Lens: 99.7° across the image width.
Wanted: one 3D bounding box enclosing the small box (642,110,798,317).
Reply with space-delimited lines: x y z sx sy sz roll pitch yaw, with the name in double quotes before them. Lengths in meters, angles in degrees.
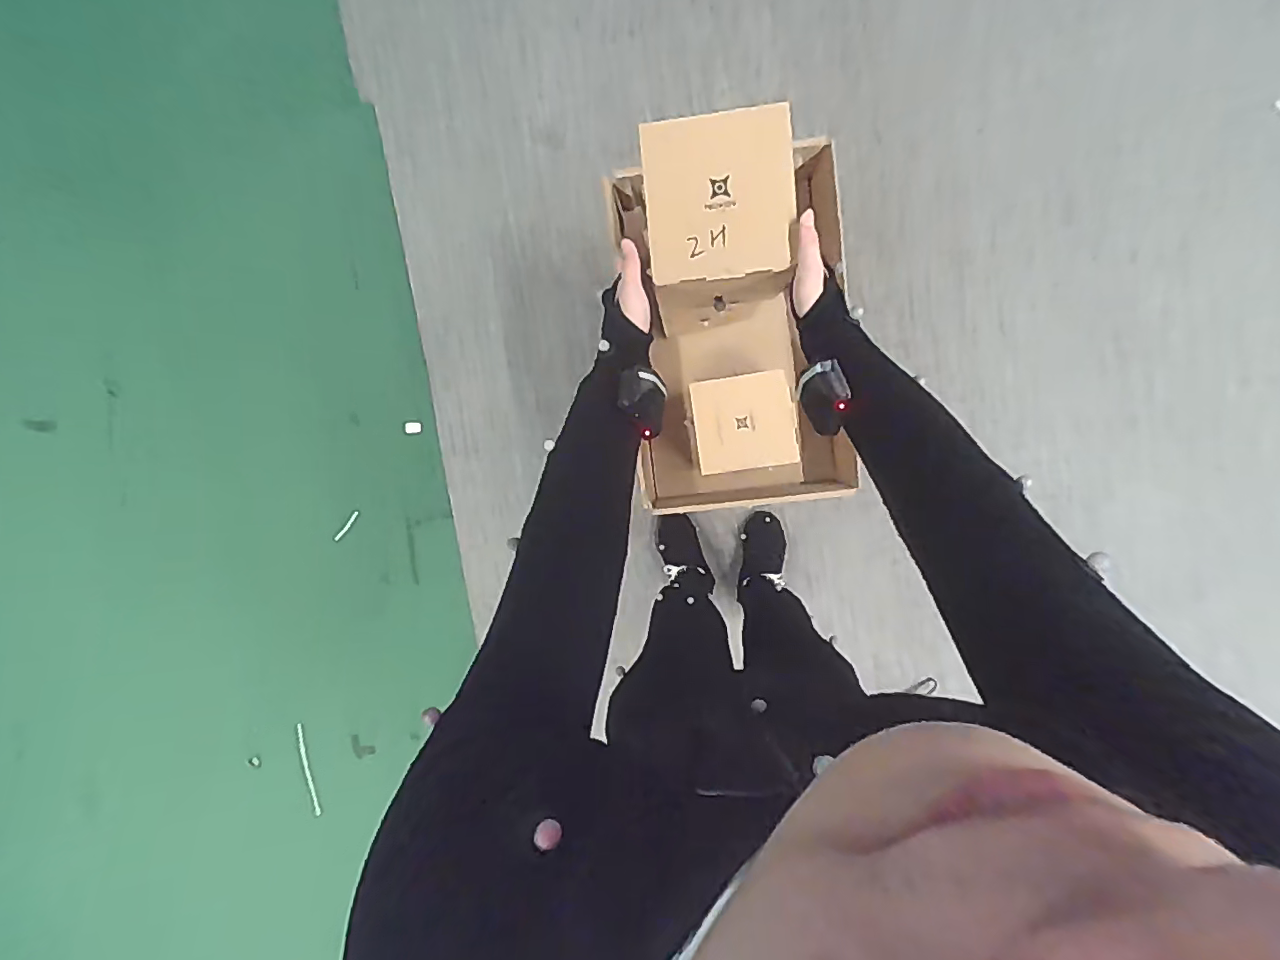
"small box" 0.095 -0.313 0.672 0.168 0.176 0.179 -4 96 7
